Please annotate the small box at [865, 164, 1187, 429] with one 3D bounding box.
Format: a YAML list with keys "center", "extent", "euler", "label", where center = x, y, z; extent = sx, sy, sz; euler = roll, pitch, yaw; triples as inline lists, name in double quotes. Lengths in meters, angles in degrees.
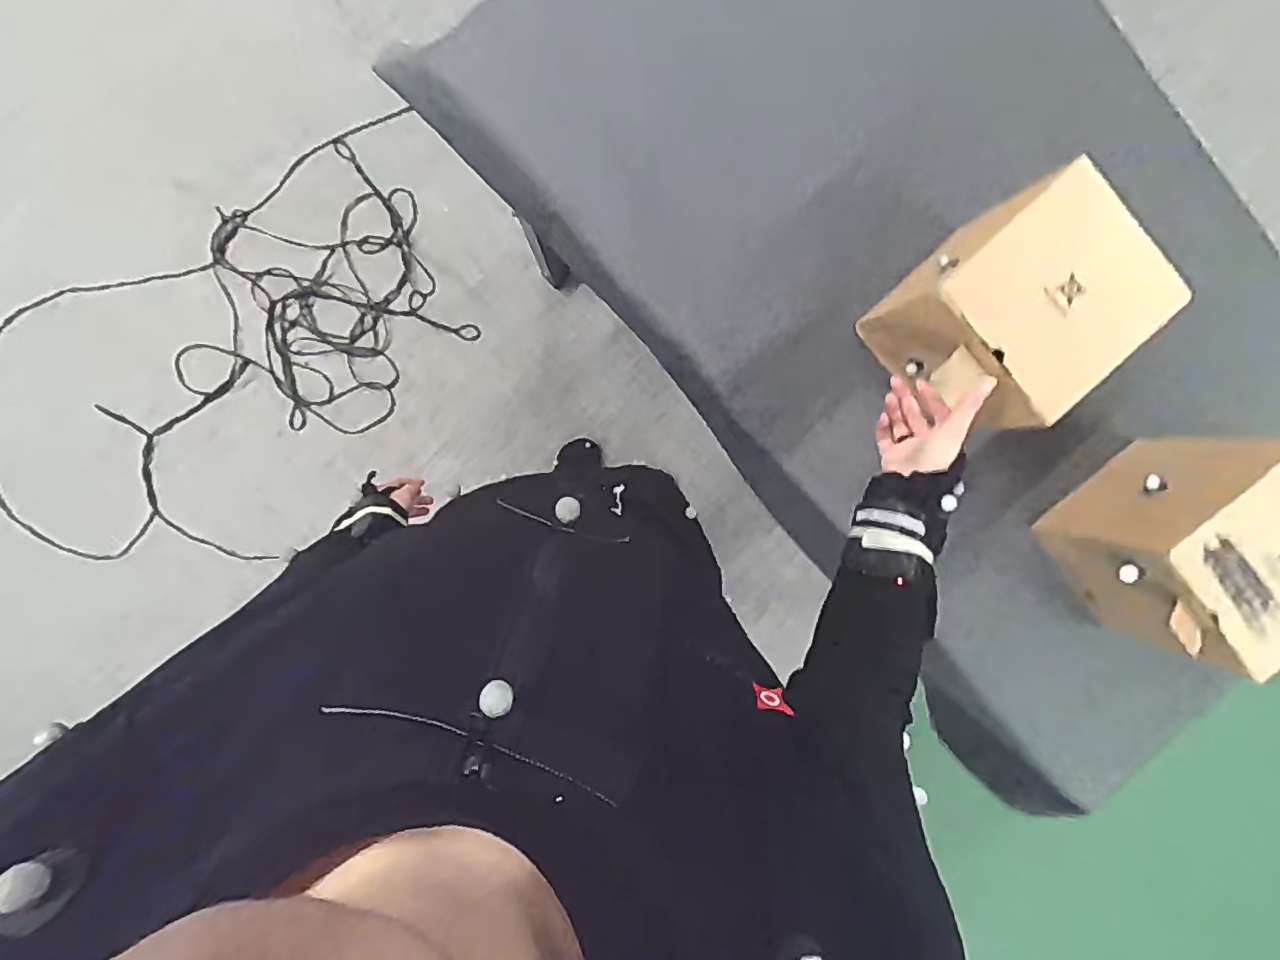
- center: [0.378, -0.170, 0.564]
  extent: [0.179, 0.176, 0.168]
  euler: [-43, 96, 1]
  label: "small box"
